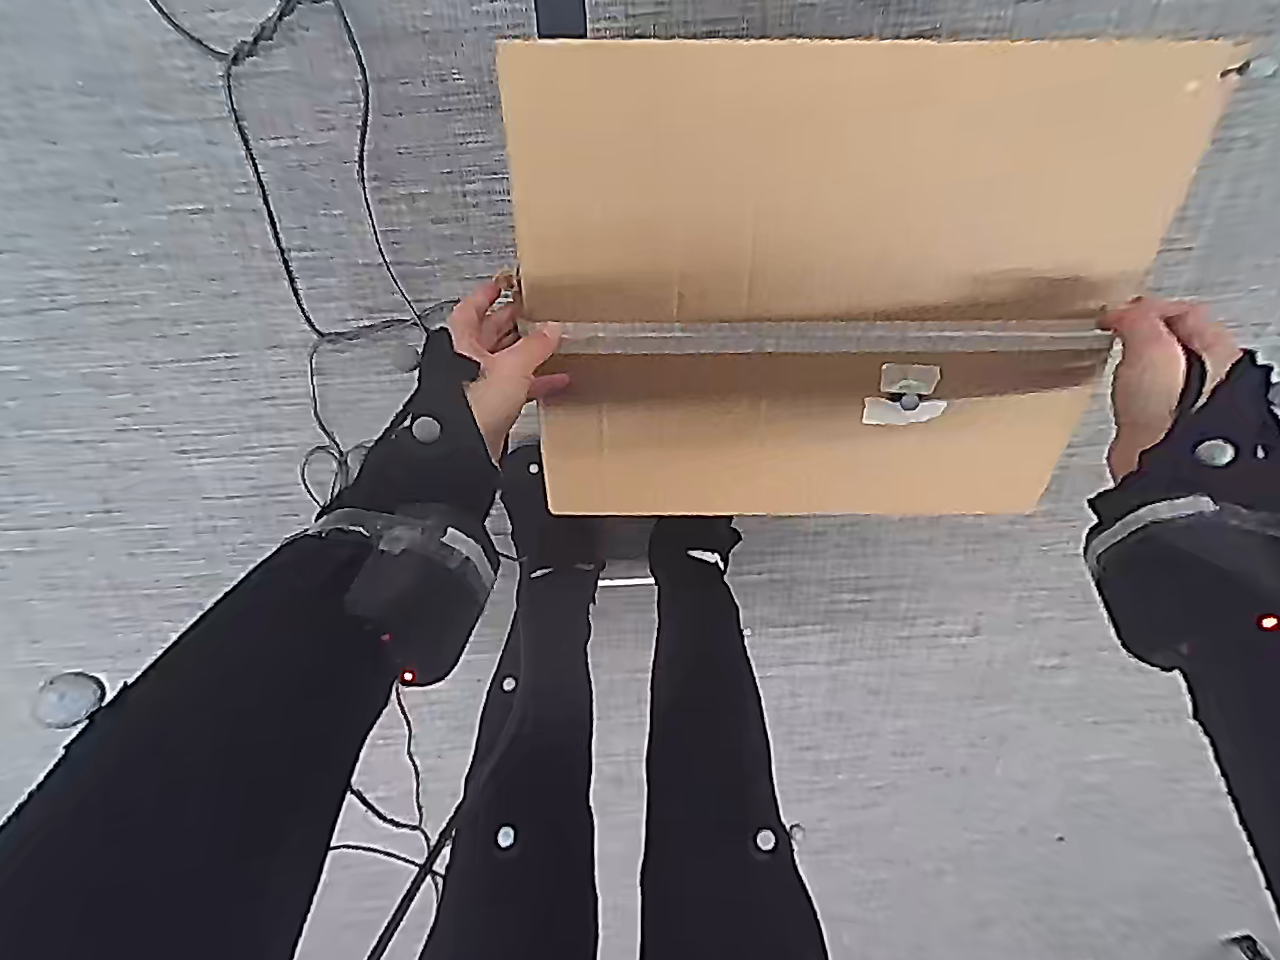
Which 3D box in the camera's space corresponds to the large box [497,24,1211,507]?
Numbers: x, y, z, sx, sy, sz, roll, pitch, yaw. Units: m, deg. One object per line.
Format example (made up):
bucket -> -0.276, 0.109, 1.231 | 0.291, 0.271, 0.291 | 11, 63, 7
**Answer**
large box -> 0.115, -0.190, 0.499 | 0.408, 0.320, 0.320 | -1, 122, -1
